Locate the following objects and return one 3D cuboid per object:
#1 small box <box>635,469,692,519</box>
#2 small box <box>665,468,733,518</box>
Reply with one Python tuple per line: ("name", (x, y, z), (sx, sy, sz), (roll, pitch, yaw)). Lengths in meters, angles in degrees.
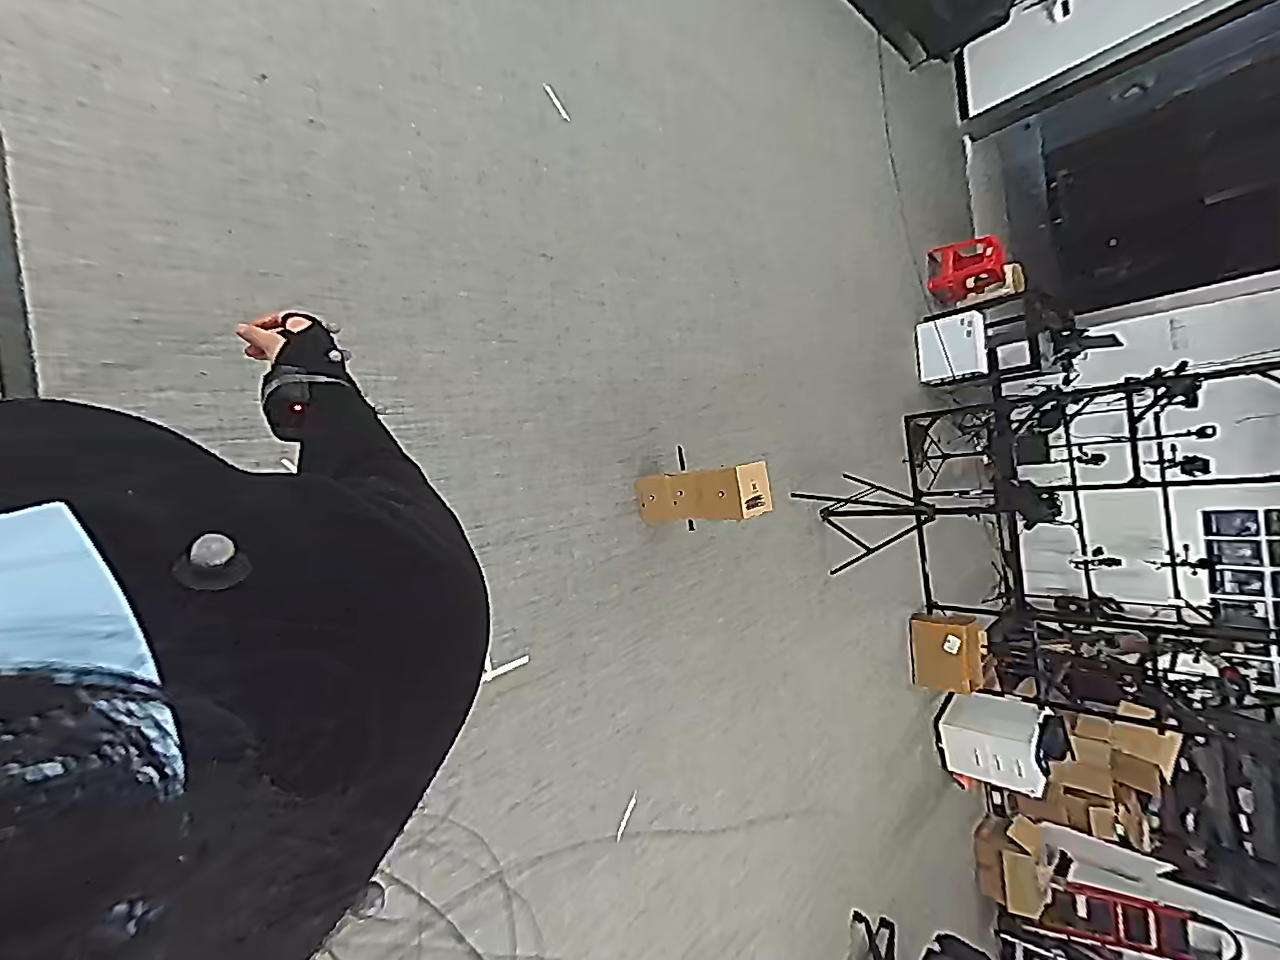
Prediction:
("small box", (0.097, 0.055, 2.092), (0.179, 0.176, 0.168), (-12, 95, -44))
("small box", (0.215, 0.047, 1.980), (0.179, 0.176, 0.168), (-9, 92, -43))
